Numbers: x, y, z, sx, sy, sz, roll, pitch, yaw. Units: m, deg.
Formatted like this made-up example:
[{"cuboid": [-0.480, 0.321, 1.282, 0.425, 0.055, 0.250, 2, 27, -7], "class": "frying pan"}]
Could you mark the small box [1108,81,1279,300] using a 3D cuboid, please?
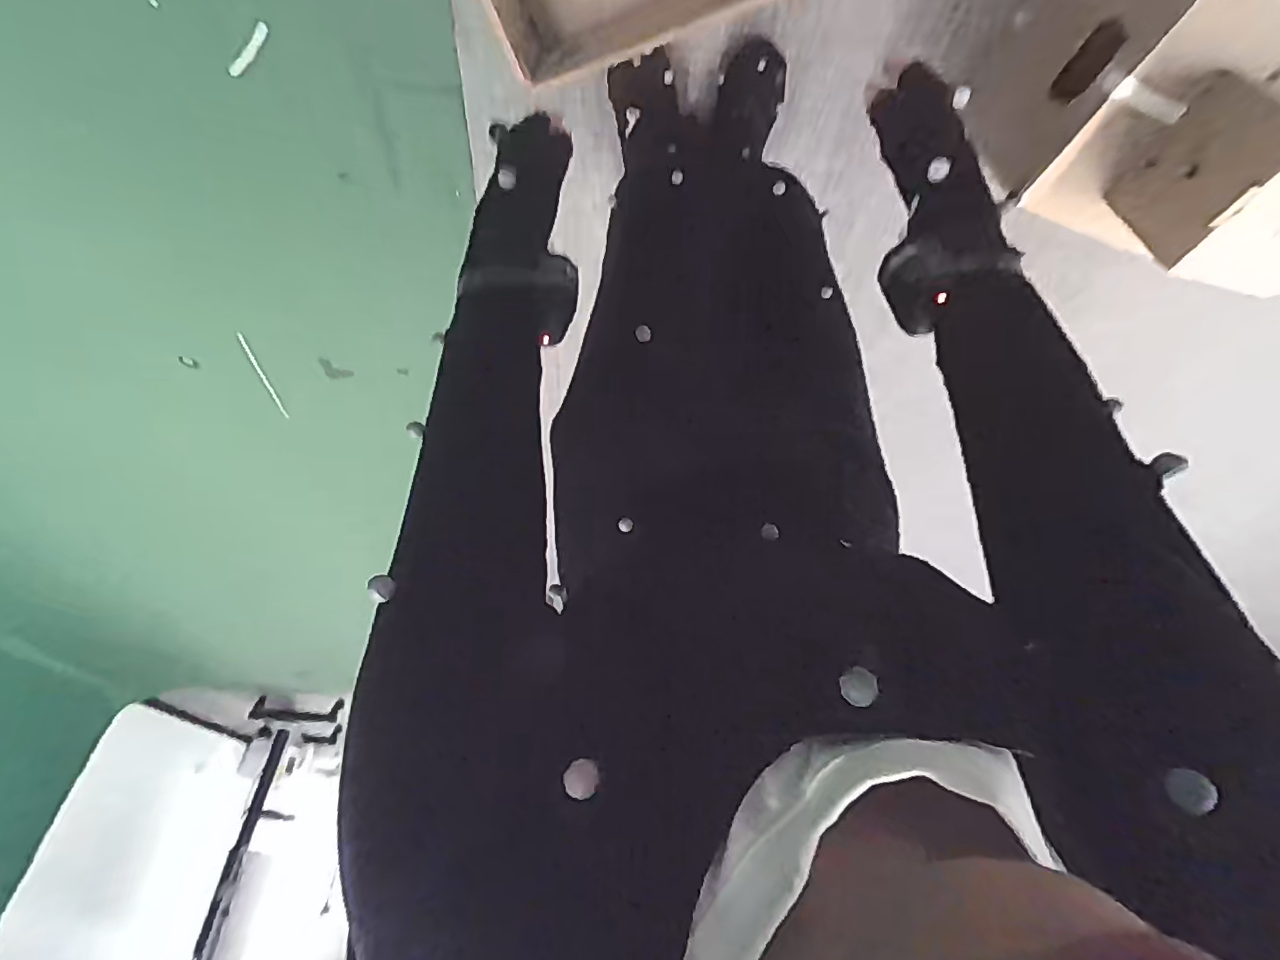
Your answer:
[{"cuboid": [0.748, -0.357, 0.668, 0.179, 0.176, 0.168, 9, 144, -10], "class": "small box"}]
